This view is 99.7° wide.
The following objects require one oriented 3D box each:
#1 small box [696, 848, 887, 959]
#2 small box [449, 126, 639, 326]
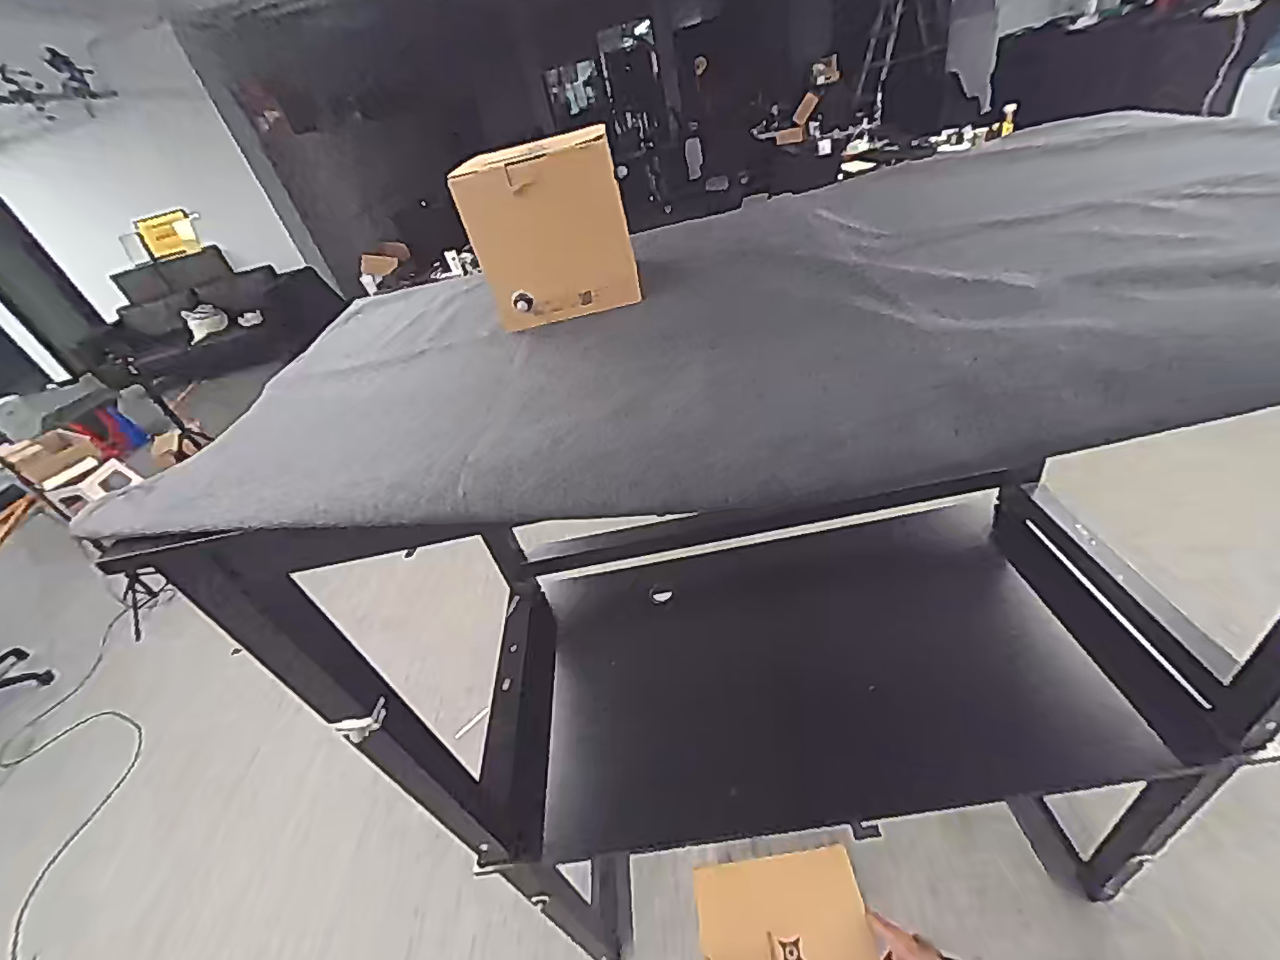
[{"bbox_3d":[0.170,0.526,0.585,0.179,0.176,0.168,-14,41,6],"label":"small box"},{"bbox_3d":[-0.099,-0.299,0.647,0.168,0.176,0.179,-12,36,5],"label":"small box"}]
